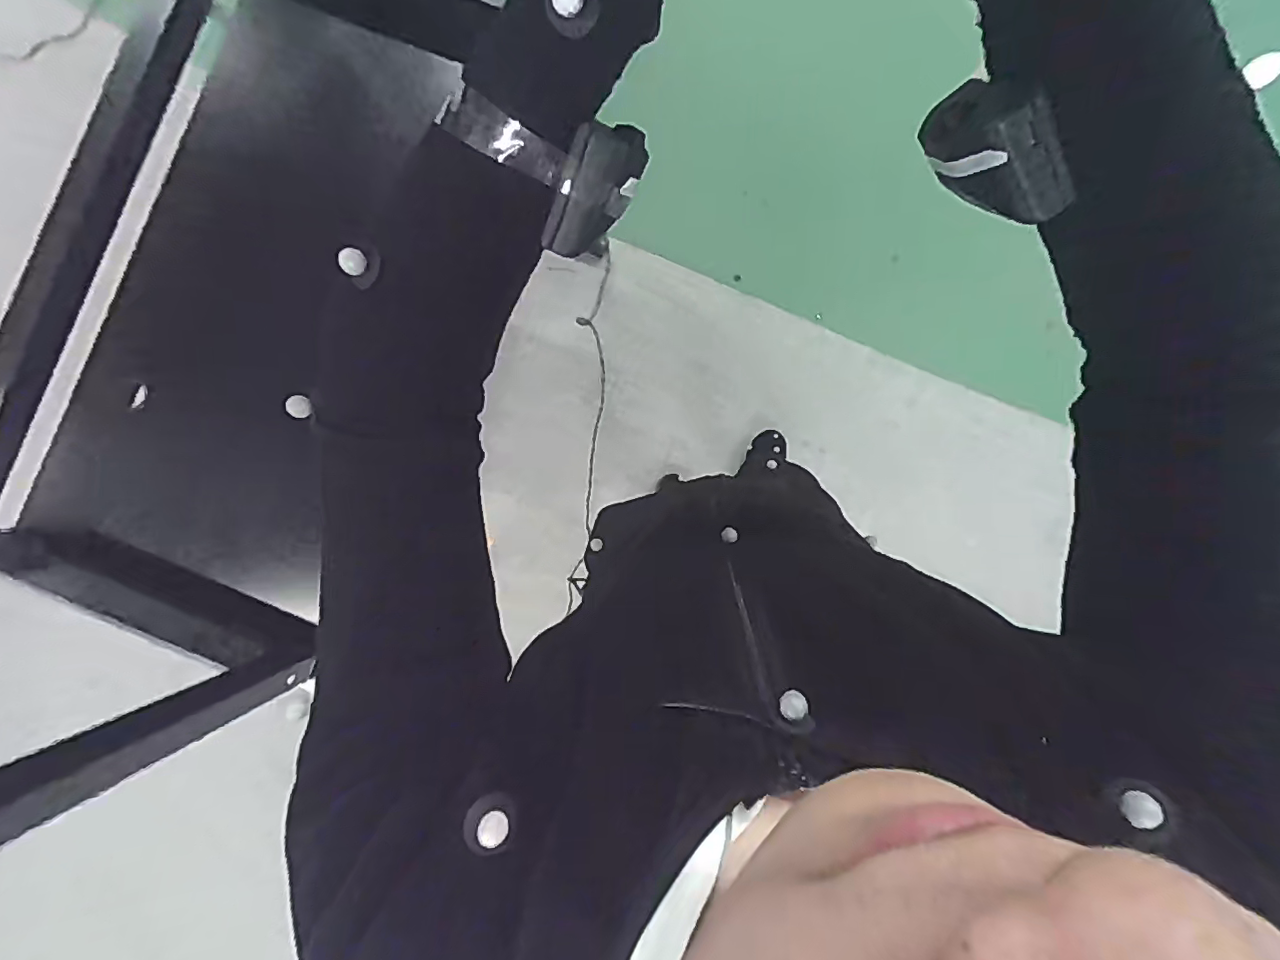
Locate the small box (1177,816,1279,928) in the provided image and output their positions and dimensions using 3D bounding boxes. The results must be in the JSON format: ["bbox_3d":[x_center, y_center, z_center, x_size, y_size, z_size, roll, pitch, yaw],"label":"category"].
[{"bbox_3d":[1.618,1.044,1.446,0.179,0.176,0.168,26,89,2],"label":"small box"}]
